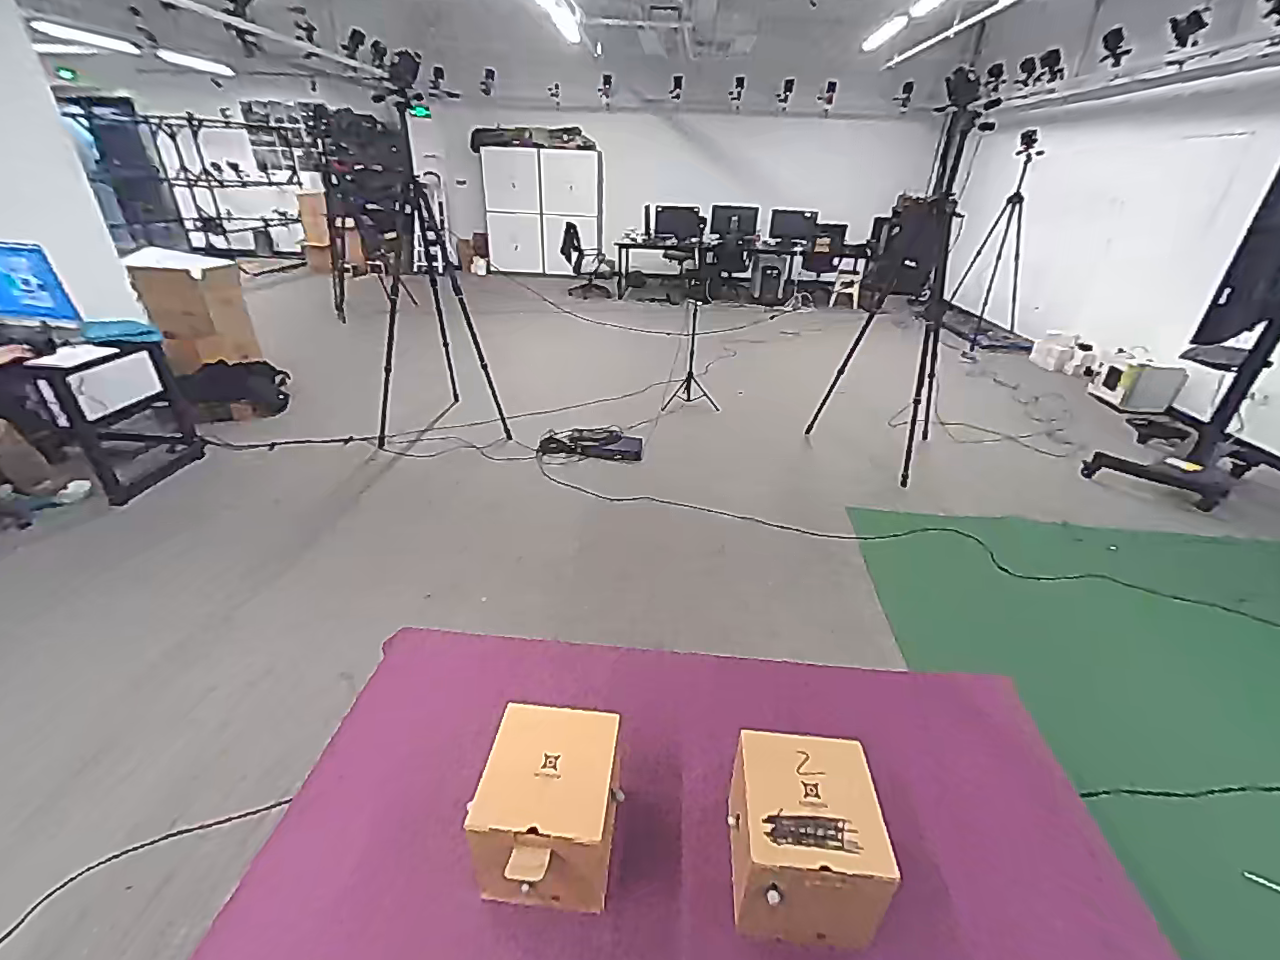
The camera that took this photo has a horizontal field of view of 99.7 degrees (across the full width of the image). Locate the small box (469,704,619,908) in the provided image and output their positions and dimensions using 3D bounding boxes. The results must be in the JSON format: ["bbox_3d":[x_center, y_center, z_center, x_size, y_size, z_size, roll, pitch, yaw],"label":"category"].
[{"bbox_3d":[-0.124,0.450,0.757,0.168,0.176,0.179,4,30,4],"label":"small box"}]
